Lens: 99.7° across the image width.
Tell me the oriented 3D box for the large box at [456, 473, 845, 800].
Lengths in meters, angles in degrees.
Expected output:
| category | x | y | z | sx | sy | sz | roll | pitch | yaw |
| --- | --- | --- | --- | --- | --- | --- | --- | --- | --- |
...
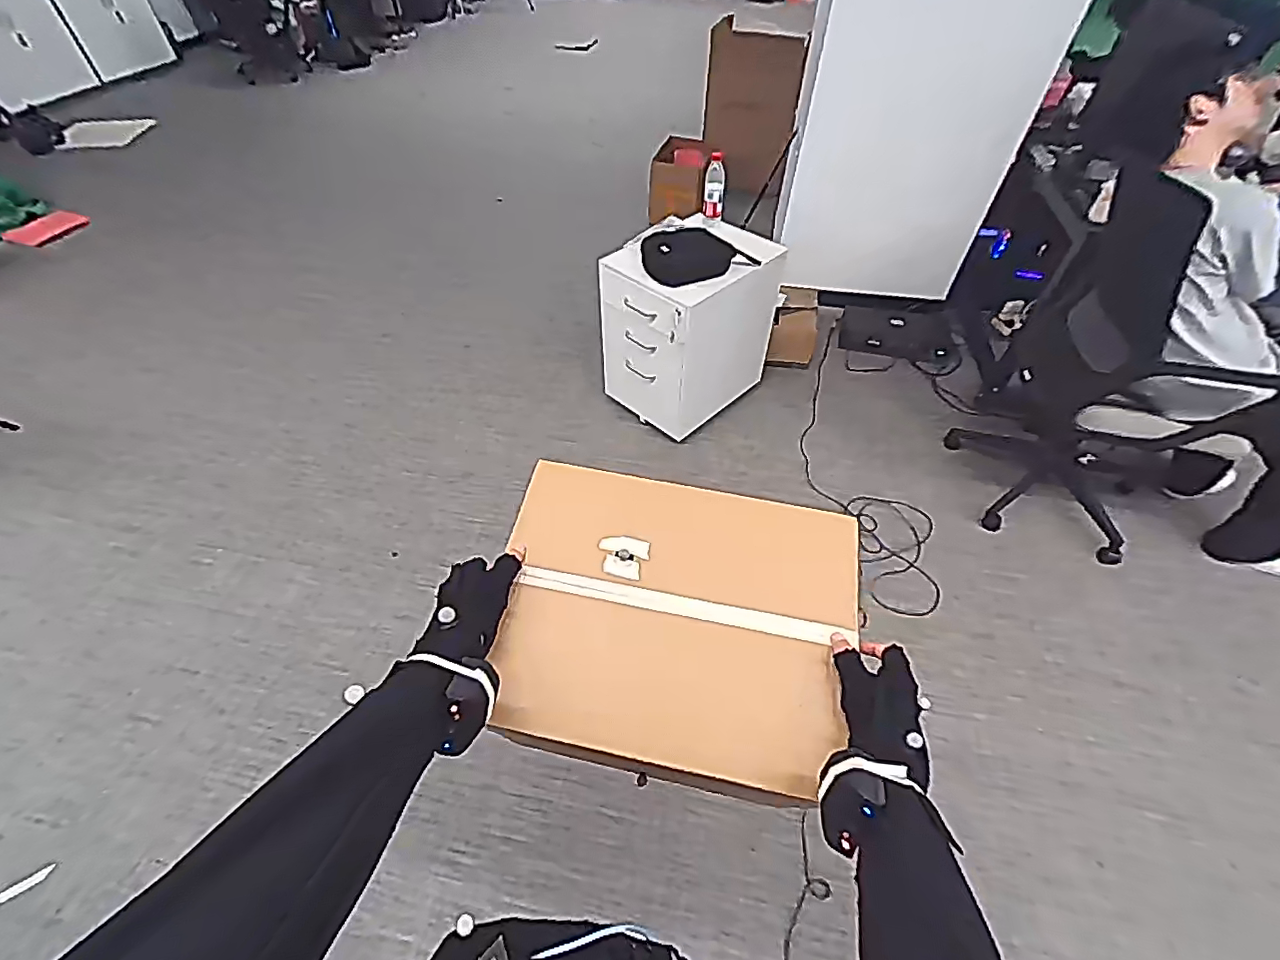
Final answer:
| category | x | y | z | sx | sy | sz | roll | pitch | yaw |
| --- | --- | --- | --- | --- | --- | --- | --- | --- | --- |
| large box | 0.033 | 0.224 | 0.740 | 0.408 | 0.320 | 0.320 | 10 | 59 | 6 |
